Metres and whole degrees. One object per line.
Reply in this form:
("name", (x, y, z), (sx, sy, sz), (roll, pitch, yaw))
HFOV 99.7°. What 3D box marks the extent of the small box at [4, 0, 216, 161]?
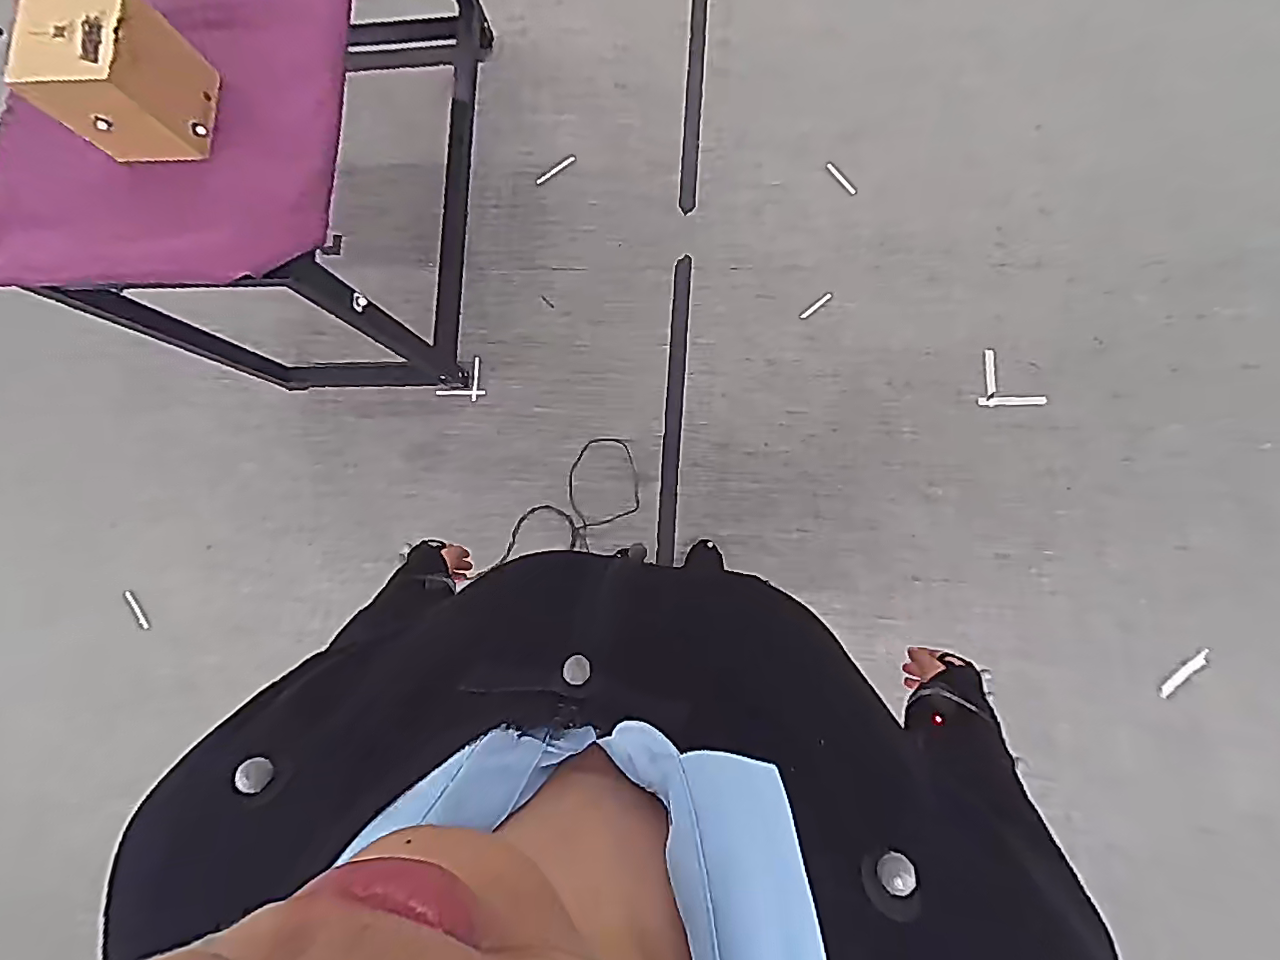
("small box", (-0.841, -0.649, 0.877), (0.179, 0.176, 0.168), (2, 83, 6))
